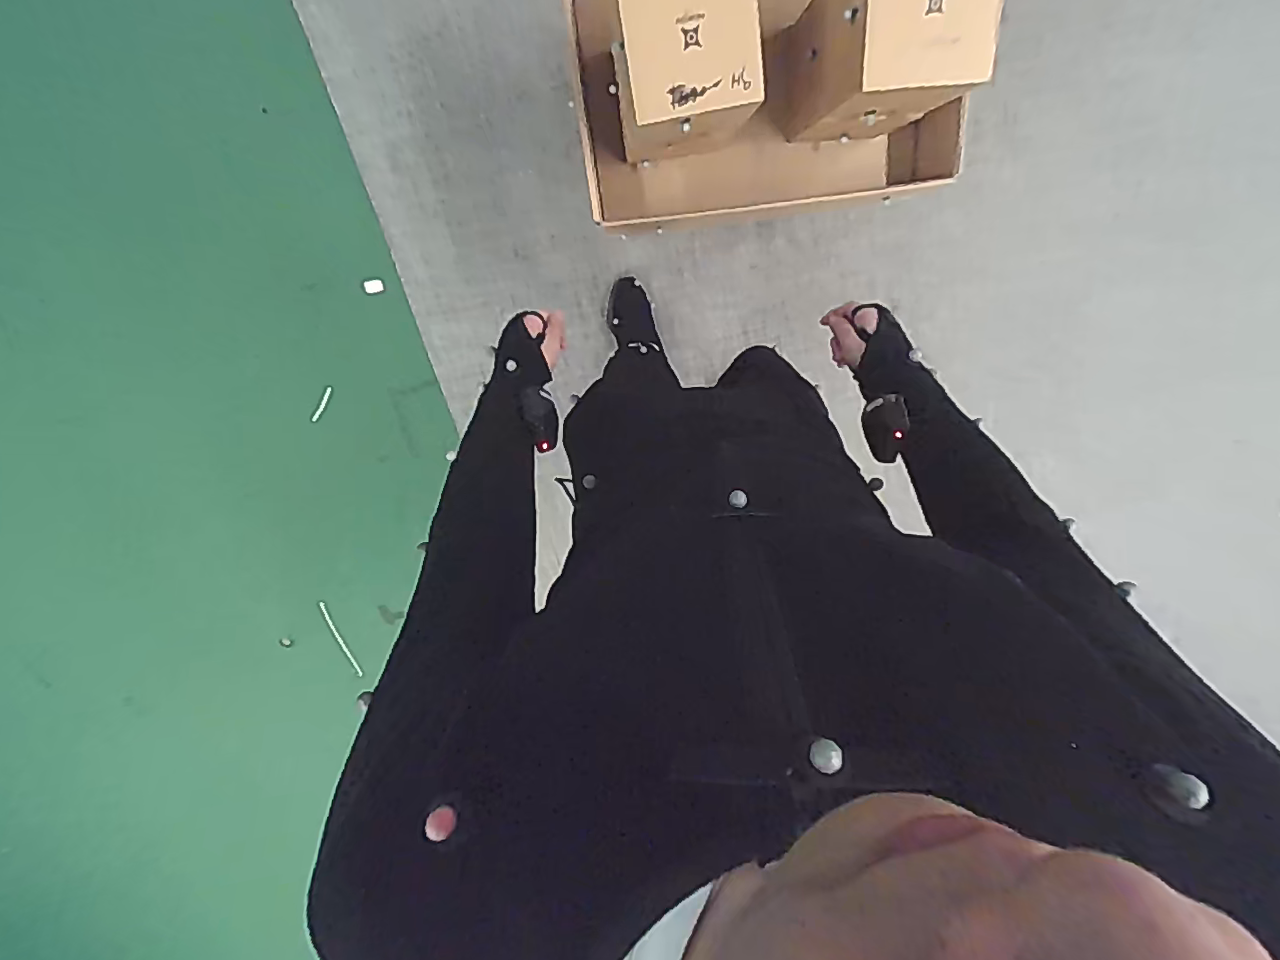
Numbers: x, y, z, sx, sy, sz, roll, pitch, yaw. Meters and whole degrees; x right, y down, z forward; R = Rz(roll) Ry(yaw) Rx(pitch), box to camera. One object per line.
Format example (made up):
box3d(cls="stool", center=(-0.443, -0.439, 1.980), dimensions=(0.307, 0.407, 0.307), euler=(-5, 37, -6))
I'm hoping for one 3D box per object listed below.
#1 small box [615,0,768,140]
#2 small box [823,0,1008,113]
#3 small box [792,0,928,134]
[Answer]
box3d(cls="small box", center=(0.060, -0.574, 0.707), dimensions=(0.168, 0.176, 0.179), euler=(-10, 113, 2))
box3d(cls="small box", center=(0.351, -0.608, 0.708), dimensions=(0.168, 0.176, 0.179), euler=(-4, 113, -1))
box3d(cls="small box", center=(0.349, -0.672, 0.859), dimensions=(0.168, 0.176, 0.179), euler=(-4, 113, 0))
